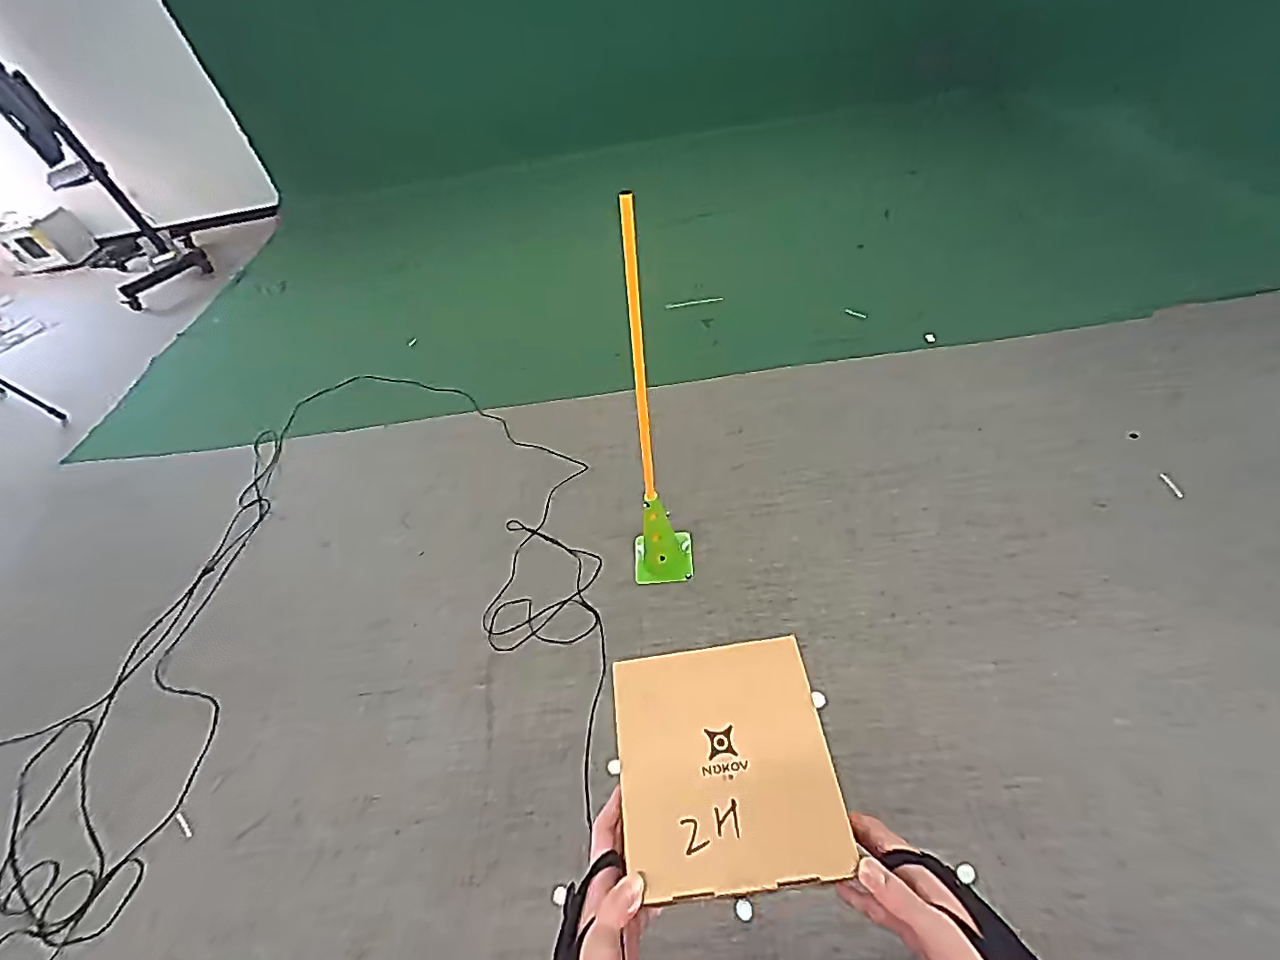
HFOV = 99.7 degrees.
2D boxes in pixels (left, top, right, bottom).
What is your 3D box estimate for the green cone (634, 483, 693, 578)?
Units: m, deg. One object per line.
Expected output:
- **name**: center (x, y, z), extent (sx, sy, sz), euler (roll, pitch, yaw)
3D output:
- **green cone**: center (0.052, 0.137, 1.758), extent (0.202, 0.368, 0.200), euler (-7, 48, 7)
